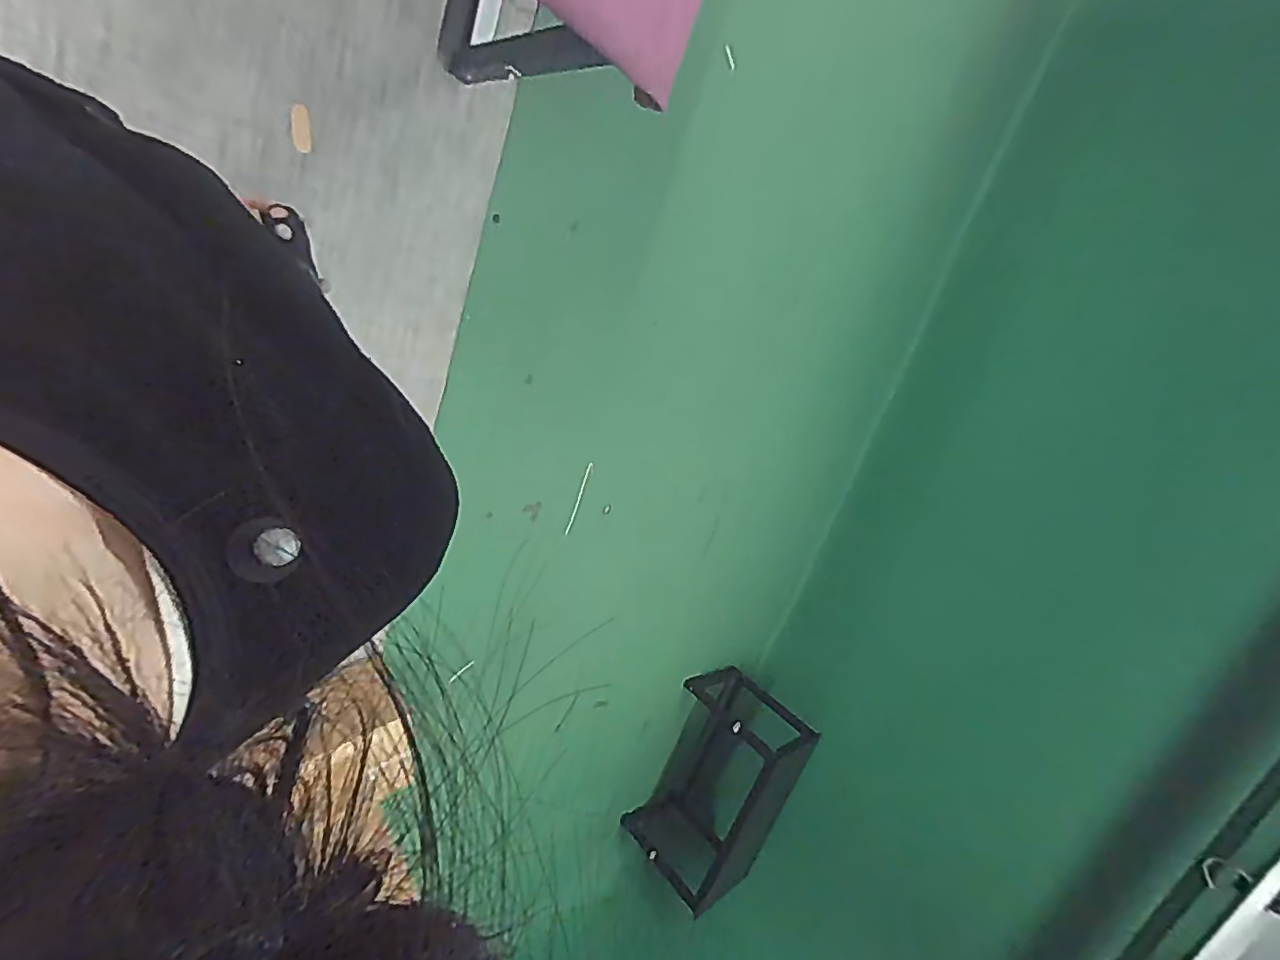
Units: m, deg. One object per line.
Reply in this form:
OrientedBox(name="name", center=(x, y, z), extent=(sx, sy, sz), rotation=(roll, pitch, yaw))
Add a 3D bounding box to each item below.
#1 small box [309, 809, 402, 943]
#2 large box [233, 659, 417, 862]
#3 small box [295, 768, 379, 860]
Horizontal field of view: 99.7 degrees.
OrientedBox(name="small box", center=(-0.717, 0.990, 1.365), extent=(0.179, 0.176, 0.168), rotation=(-15, 123, -40))
OrientedBox(name="large box", center=(-0.953, 0.830, 1.660), extent=(0.408, 0.320, 0.320), rotation=(-15, 125, -41))
OrientedBox(name="small box", center=(-0.822, 0.922, 1.471), extent=(0.168, 0.176, 0.179), rotation=(-13, 122, -41))
